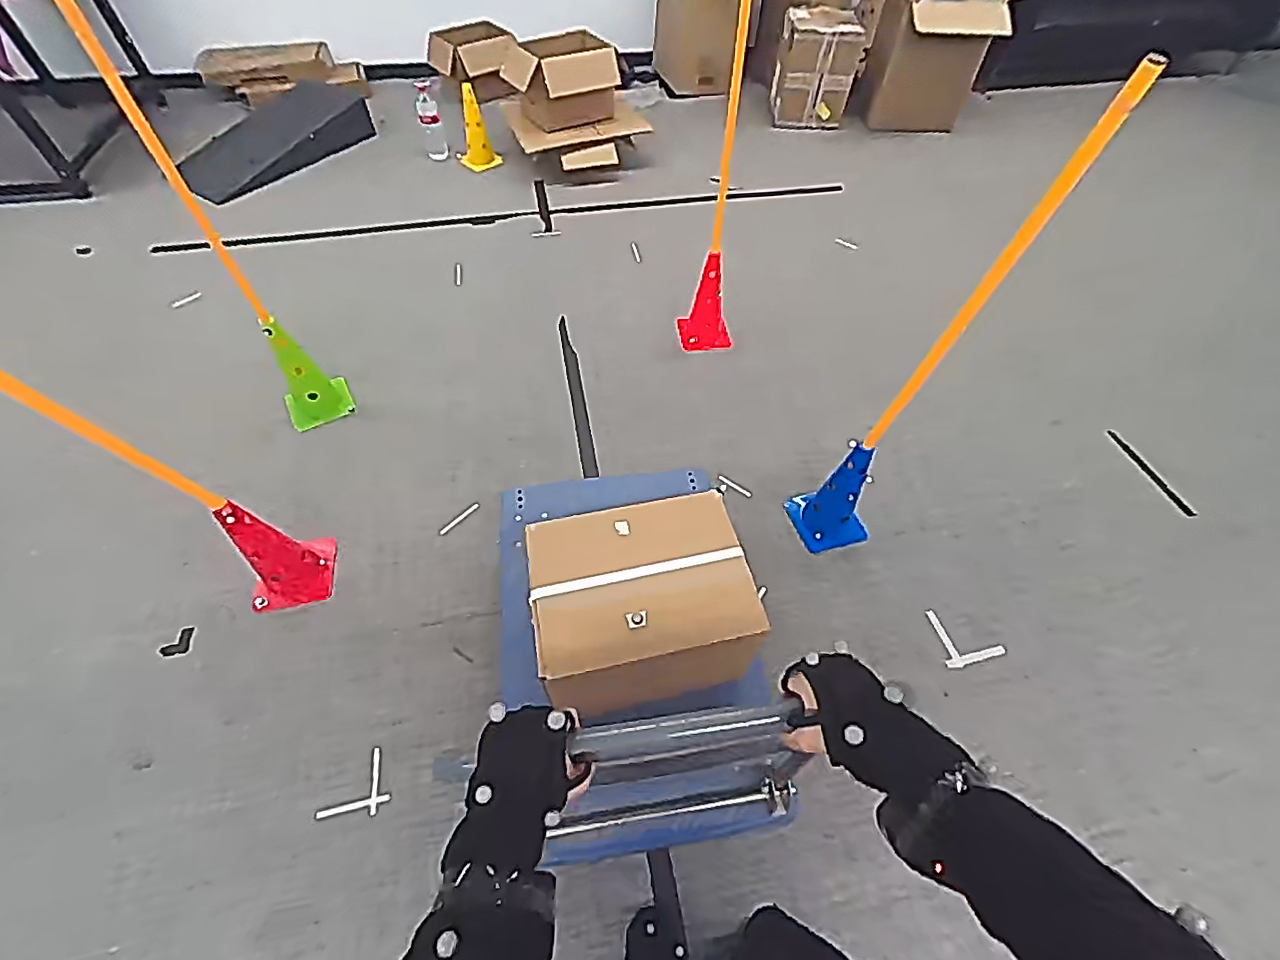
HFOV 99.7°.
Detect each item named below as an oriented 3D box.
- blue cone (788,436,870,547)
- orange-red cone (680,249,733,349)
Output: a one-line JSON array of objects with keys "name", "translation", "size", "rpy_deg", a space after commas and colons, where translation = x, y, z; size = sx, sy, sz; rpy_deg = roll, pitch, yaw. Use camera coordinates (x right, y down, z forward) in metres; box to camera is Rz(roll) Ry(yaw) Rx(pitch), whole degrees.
[{"name": "blue cone", "translation": [0.576, 0.018, 1.533], "size": [0.193, 0.380, 0.192], "rpy_deg": [-12, 54, -10]}, {"name": "orange-red cone", "translation": [0.268, -0.691, 2.016], "size": [0.199, 0.360, 0.198], "rpy_deg": [-3, 55, -5]}]
